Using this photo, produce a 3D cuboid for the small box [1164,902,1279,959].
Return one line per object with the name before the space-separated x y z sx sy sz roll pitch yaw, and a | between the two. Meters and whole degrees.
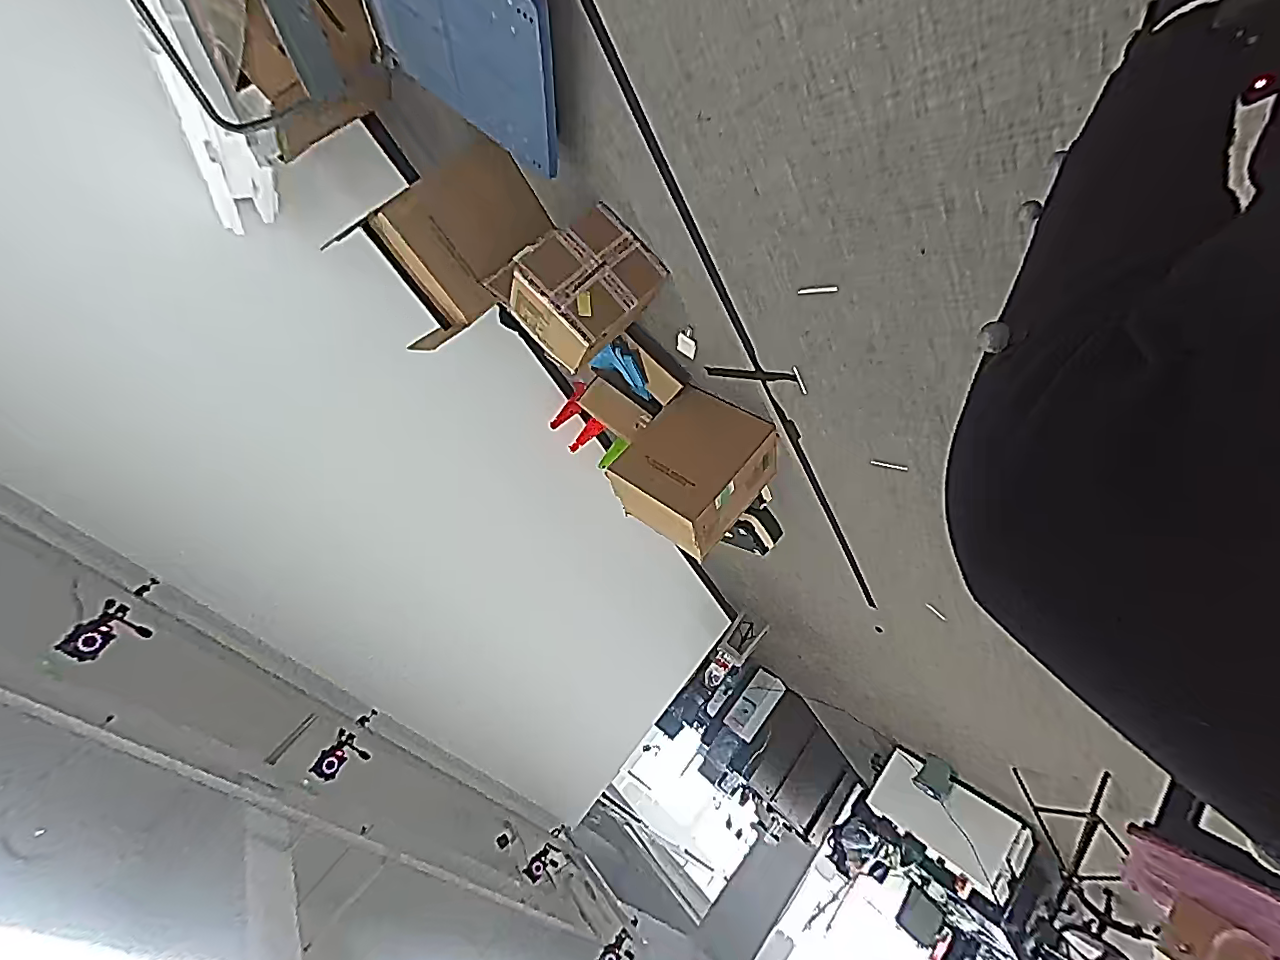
small box | 1.504 1.239 1.397 0.179 0.176 0.168 19 151 52
